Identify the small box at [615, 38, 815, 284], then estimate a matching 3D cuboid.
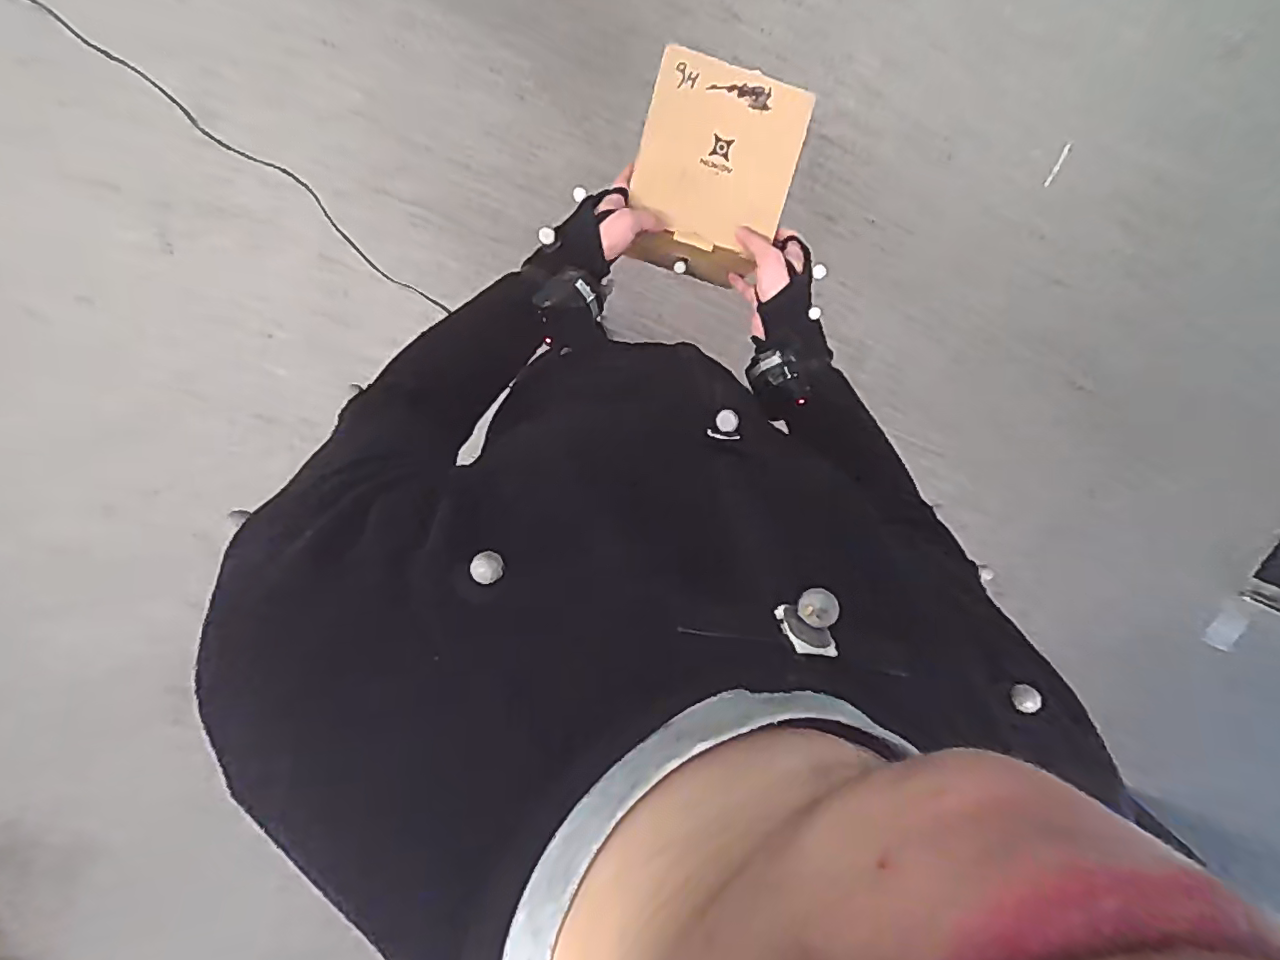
[{"bbox_3d":[0.073,-0.345,0.628,0.168,0.176,0.179,16,99,-6],"label":"small box"}]
